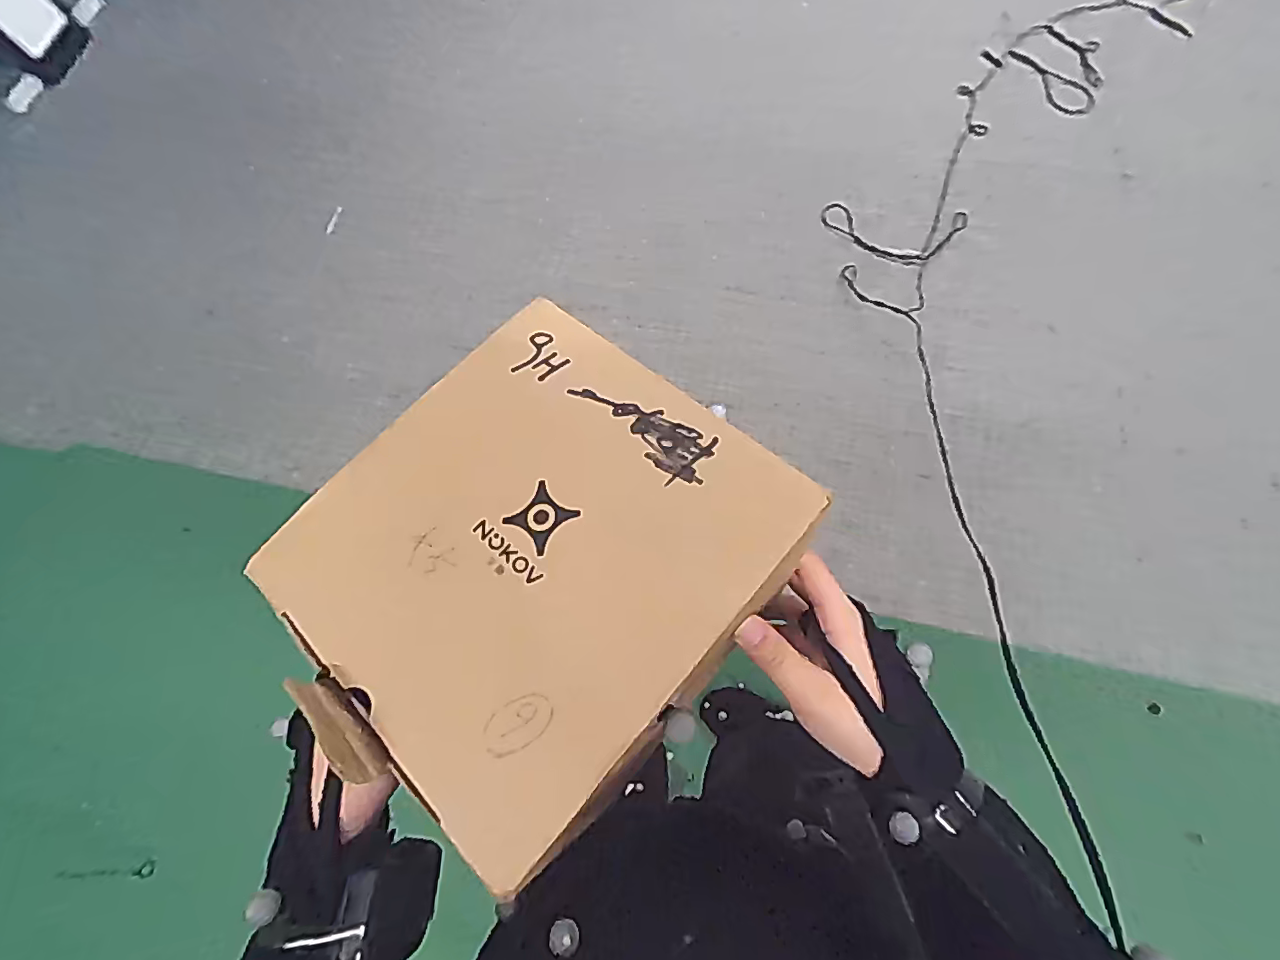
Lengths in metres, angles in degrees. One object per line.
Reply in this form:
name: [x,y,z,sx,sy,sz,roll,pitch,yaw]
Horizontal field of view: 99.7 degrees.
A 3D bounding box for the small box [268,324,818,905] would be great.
small box: [-0.033,0.062,0.291,0.168,0.176,0.179,39,77,21]
